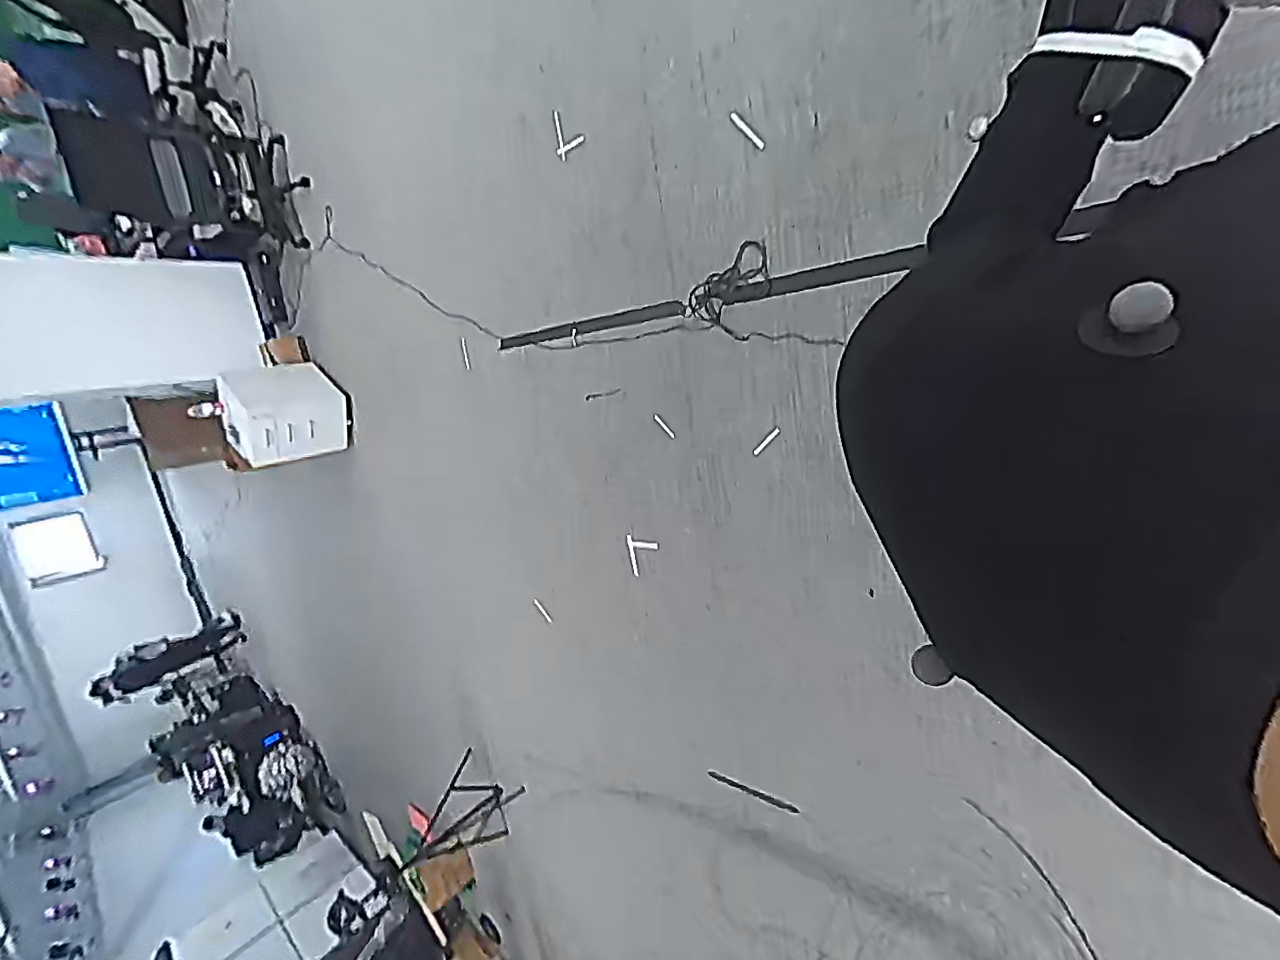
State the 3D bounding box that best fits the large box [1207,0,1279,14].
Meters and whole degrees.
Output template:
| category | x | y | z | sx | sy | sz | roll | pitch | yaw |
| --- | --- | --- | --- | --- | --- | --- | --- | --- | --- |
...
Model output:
| category | x | y | z | sx | sy | sz | roll | pitch | yaw |
| --- | --- | --- | --- | --- | --- | --- | --- | --- | --- |
| large box | 0.578 | -0.412 | 0.220 | 0.408 | 0.320 | 0.320 | 28 | 138 | 32 |
